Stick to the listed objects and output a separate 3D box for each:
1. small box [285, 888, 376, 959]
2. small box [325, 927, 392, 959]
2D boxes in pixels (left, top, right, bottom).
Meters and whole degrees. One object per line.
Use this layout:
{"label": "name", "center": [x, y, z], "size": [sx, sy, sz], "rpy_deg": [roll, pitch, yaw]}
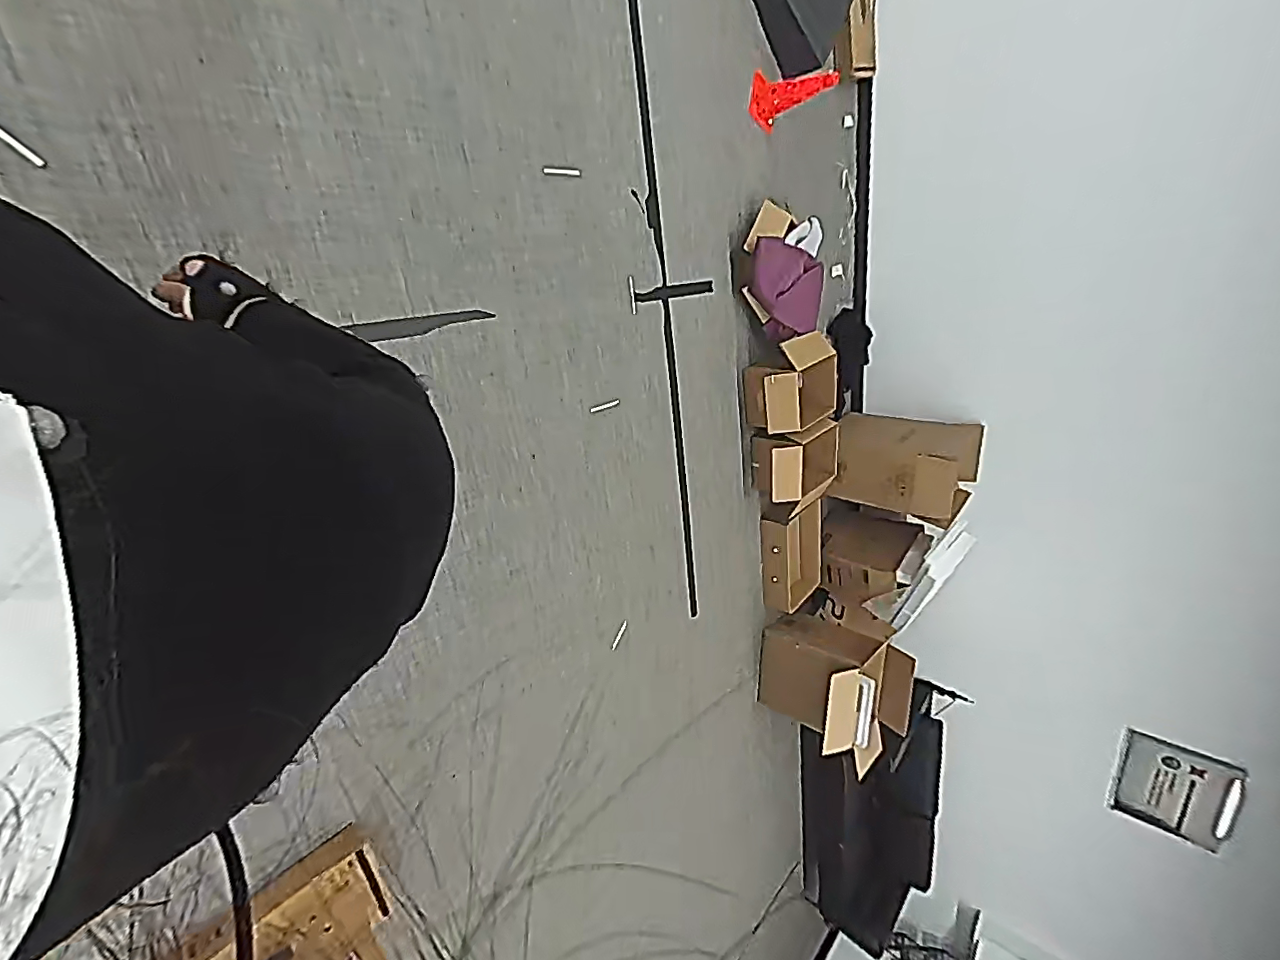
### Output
{"label": "small box", "center": [-0.817, 1.247, 1.447], "size": [0.168, 0.176, 0.179], "rpy_deg": [-24, 117, -42]}
{"label": "small box", "center": [-0.696, 1.274, 1.341], "size": [0.168, 0.176, 0.179], "rpy_deg": [-32, 122, -38]}
